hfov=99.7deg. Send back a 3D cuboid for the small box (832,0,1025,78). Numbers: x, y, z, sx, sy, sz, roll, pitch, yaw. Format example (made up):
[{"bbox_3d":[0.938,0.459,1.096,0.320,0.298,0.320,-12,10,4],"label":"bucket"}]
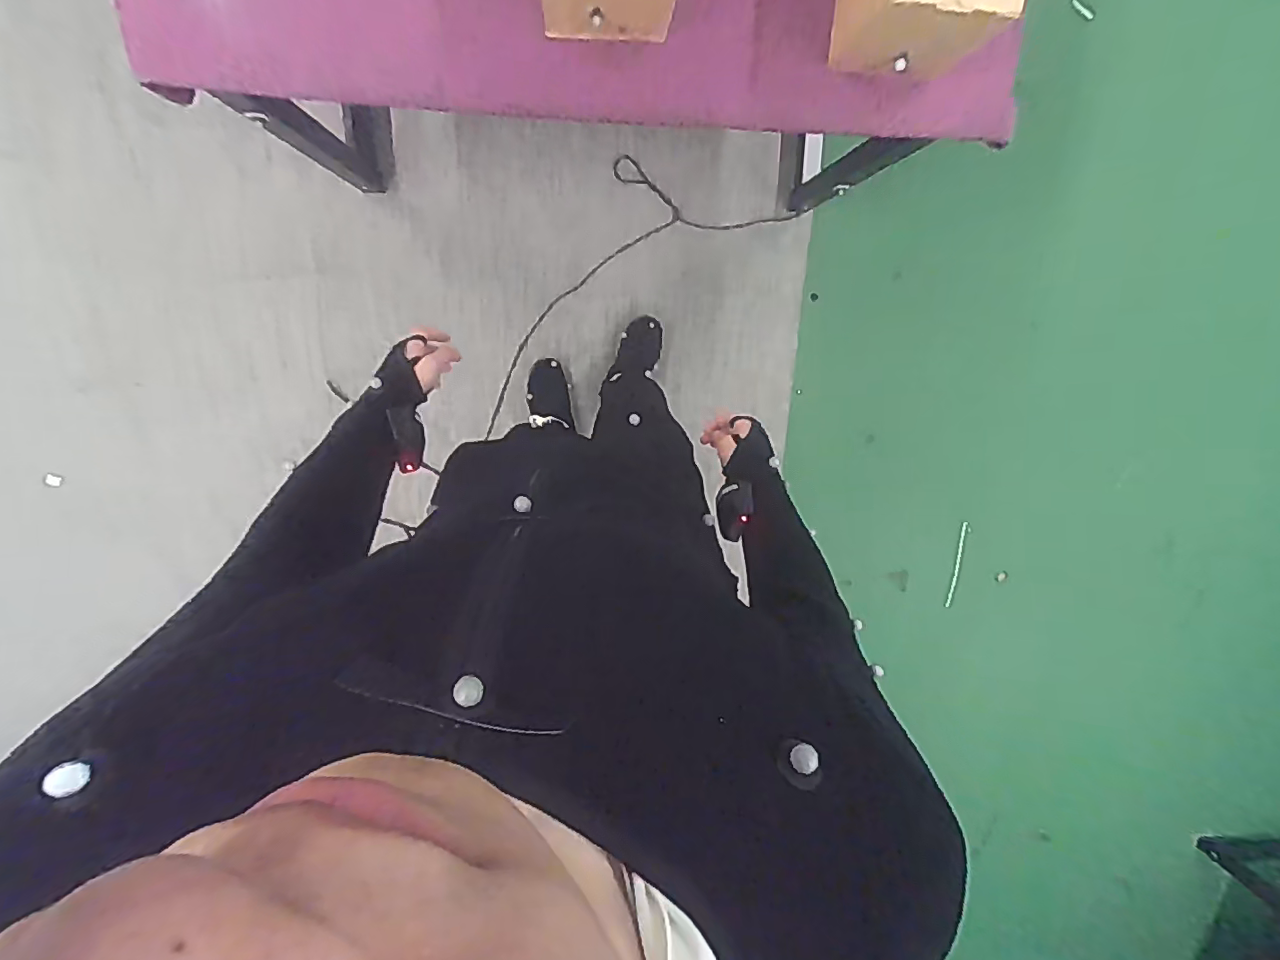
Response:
[{"bbox_3d":[0.356,-0.642,0.667,0.168,0.176,0.179,2,105,-5],"label":"small box"}]

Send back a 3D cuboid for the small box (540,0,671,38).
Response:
[{"bbox_3d":[-0.042,-0.662,0.625,0.168,0.176,0.179,-2,105,-6],"label":"small box"}]
